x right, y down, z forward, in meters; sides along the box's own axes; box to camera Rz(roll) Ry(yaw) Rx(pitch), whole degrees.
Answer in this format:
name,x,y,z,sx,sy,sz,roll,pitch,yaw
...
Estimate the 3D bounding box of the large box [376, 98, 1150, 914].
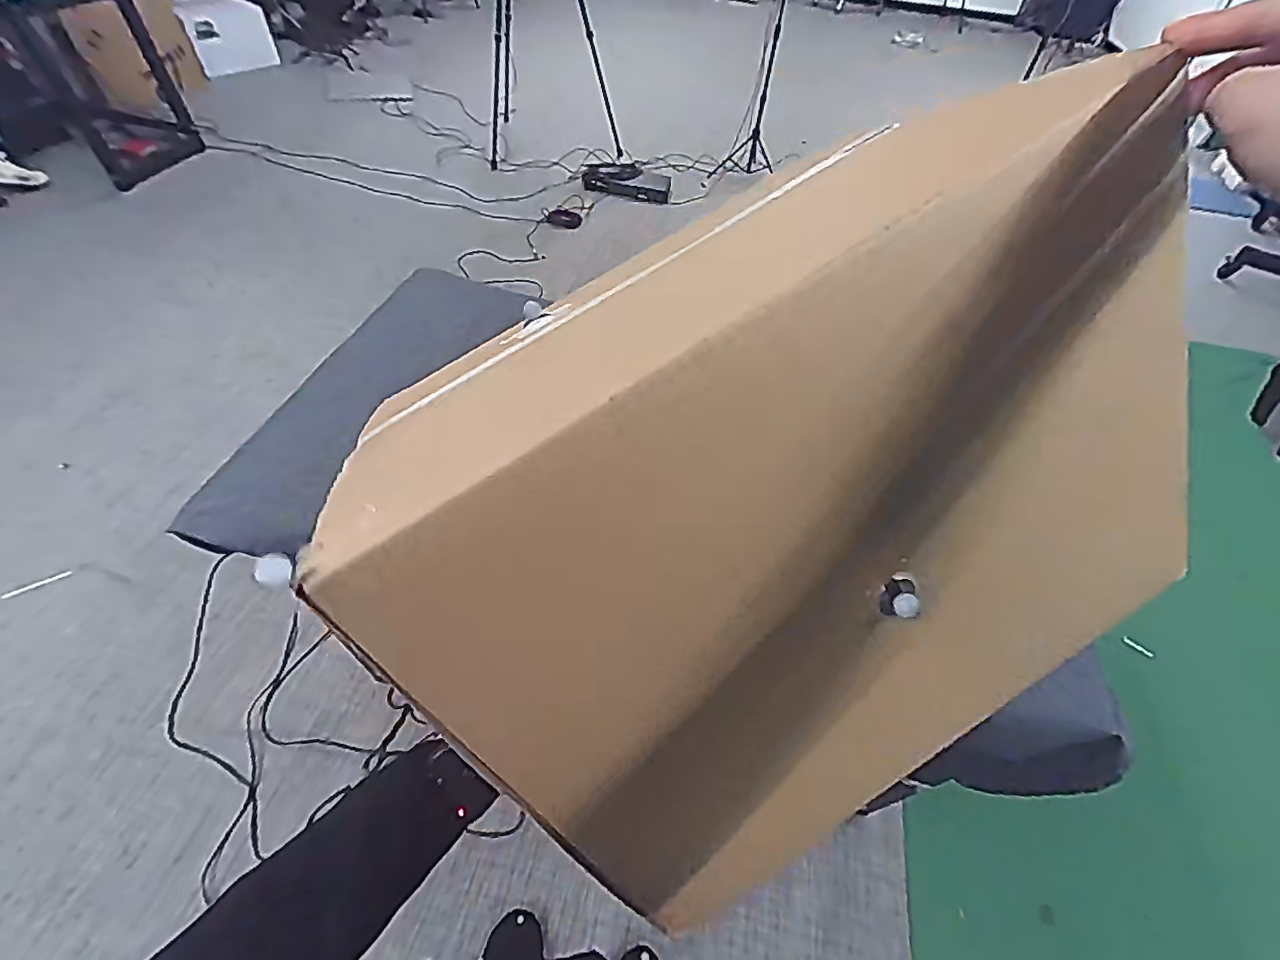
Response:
name,x,y,z,sx,sy,sz,roll,pitch,yaw
large box,0.083,0.004,0.418,0.408,0.320,0.320,-34,27,-6
